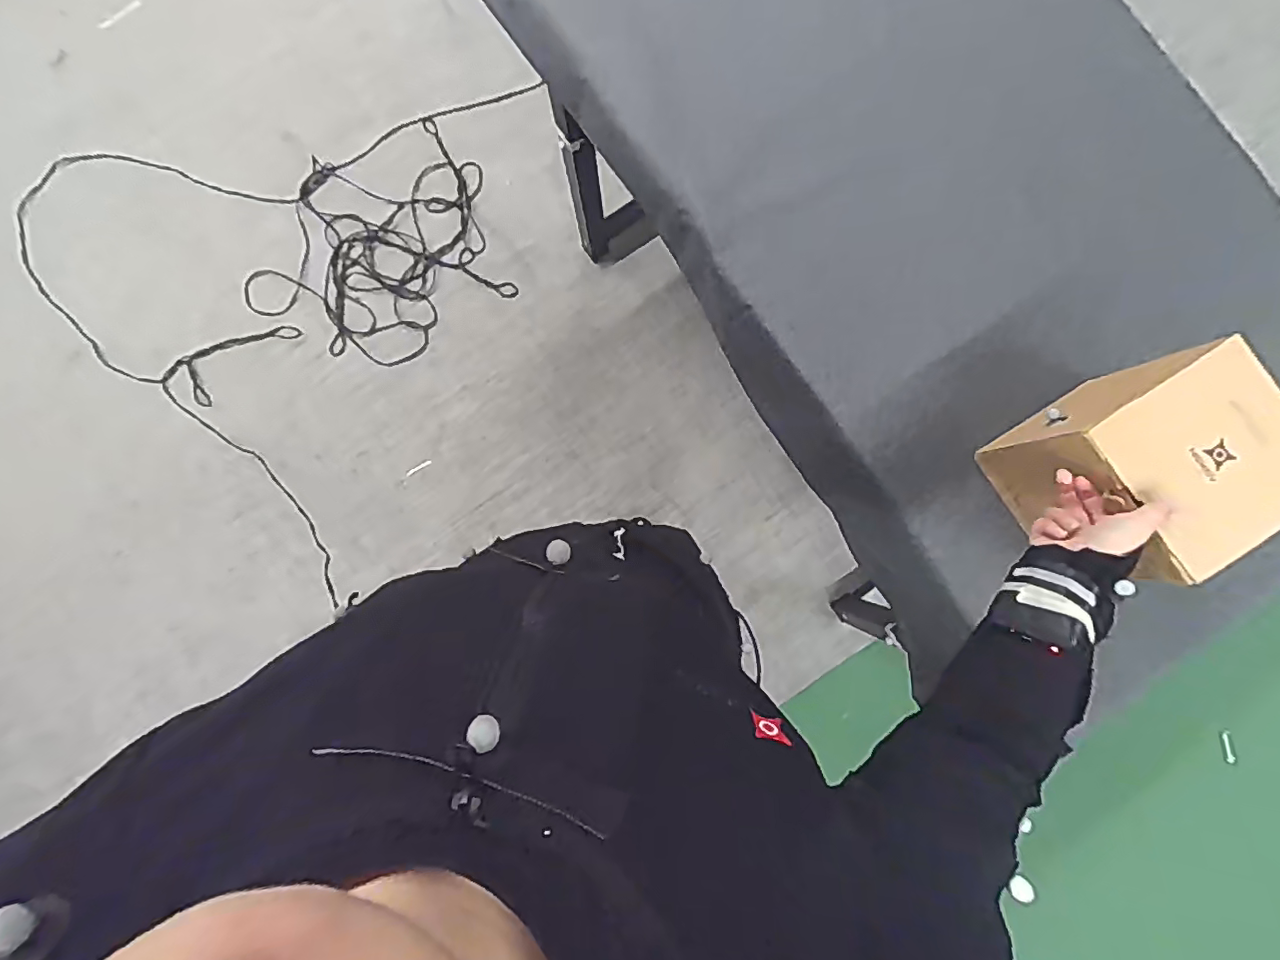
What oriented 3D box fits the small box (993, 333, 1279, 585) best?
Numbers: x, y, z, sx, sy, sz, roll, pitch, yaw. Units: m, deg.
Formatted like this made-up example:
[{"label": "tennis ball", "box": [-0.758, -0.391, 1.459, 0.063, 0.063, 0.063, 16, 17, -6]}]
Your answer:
[{"label": "small box", "box": [0.509, -0.013, 0.554, 0.179, 0.176, 0.168, -32, 87, -4]}]
